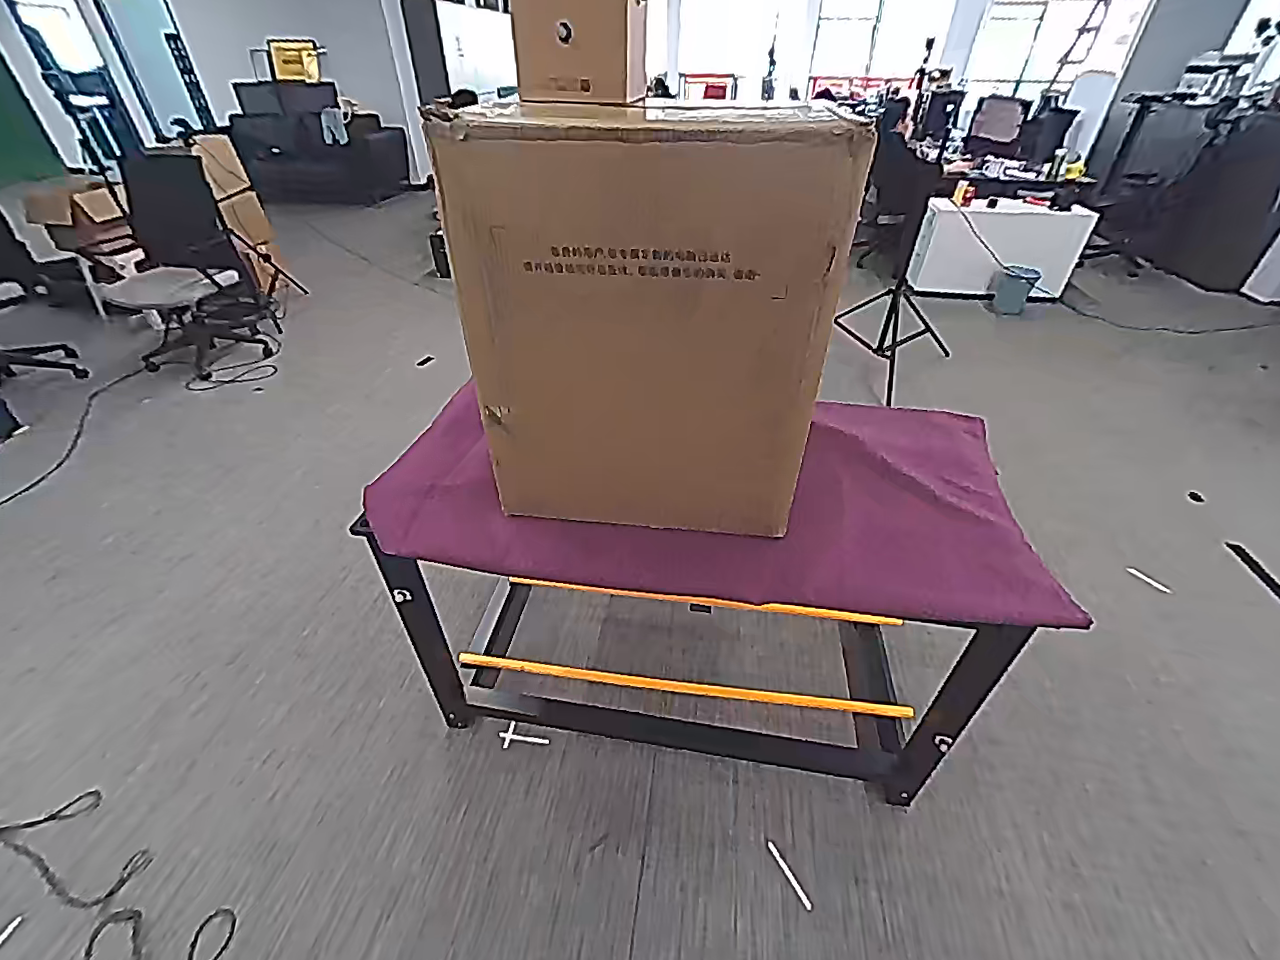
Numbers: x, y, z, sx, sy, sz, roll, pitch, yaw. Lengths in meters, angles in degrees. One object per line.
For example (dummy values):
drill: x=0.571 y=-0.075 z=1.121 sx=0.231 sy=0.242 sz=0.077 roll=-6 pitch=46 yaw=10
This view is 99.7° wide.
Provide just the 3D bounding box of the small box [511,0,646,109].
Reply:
small box: x=-0.083 y=-0.663 z=0.810 sx=0.168 sy=0.176 sz=0.179 roll=7 pitch=38 yaw=7
